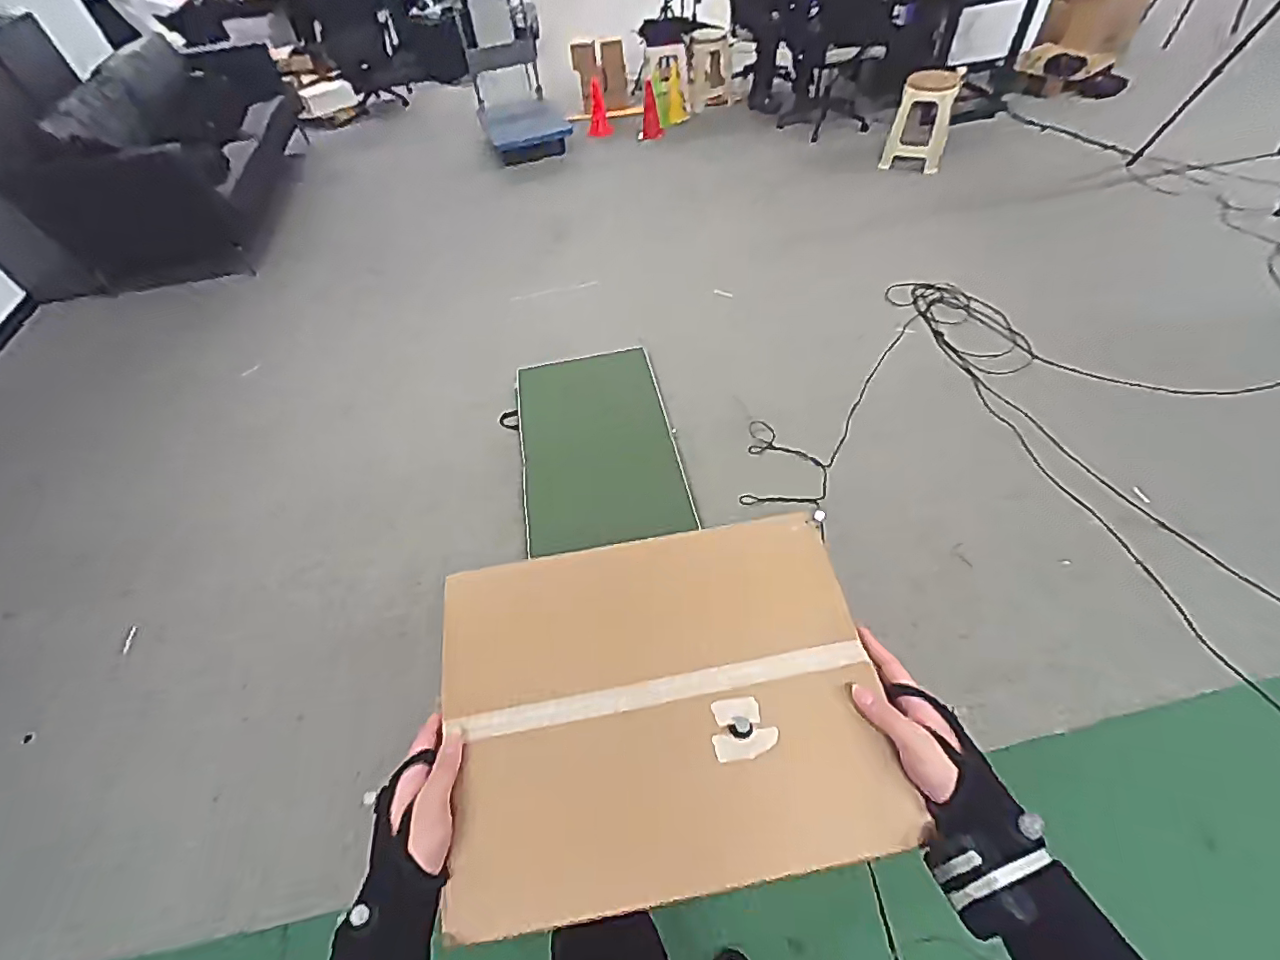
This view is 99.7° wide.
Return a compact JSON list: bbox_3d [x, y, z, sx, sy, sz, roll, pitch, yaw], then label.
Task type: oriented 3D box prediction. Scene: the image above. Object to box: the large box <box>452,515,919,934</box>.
[{"bbox_3d":[0.022,0.280,0.647,0.408,0.320,0.320,-10,59,-4],"label":"large box"}]
